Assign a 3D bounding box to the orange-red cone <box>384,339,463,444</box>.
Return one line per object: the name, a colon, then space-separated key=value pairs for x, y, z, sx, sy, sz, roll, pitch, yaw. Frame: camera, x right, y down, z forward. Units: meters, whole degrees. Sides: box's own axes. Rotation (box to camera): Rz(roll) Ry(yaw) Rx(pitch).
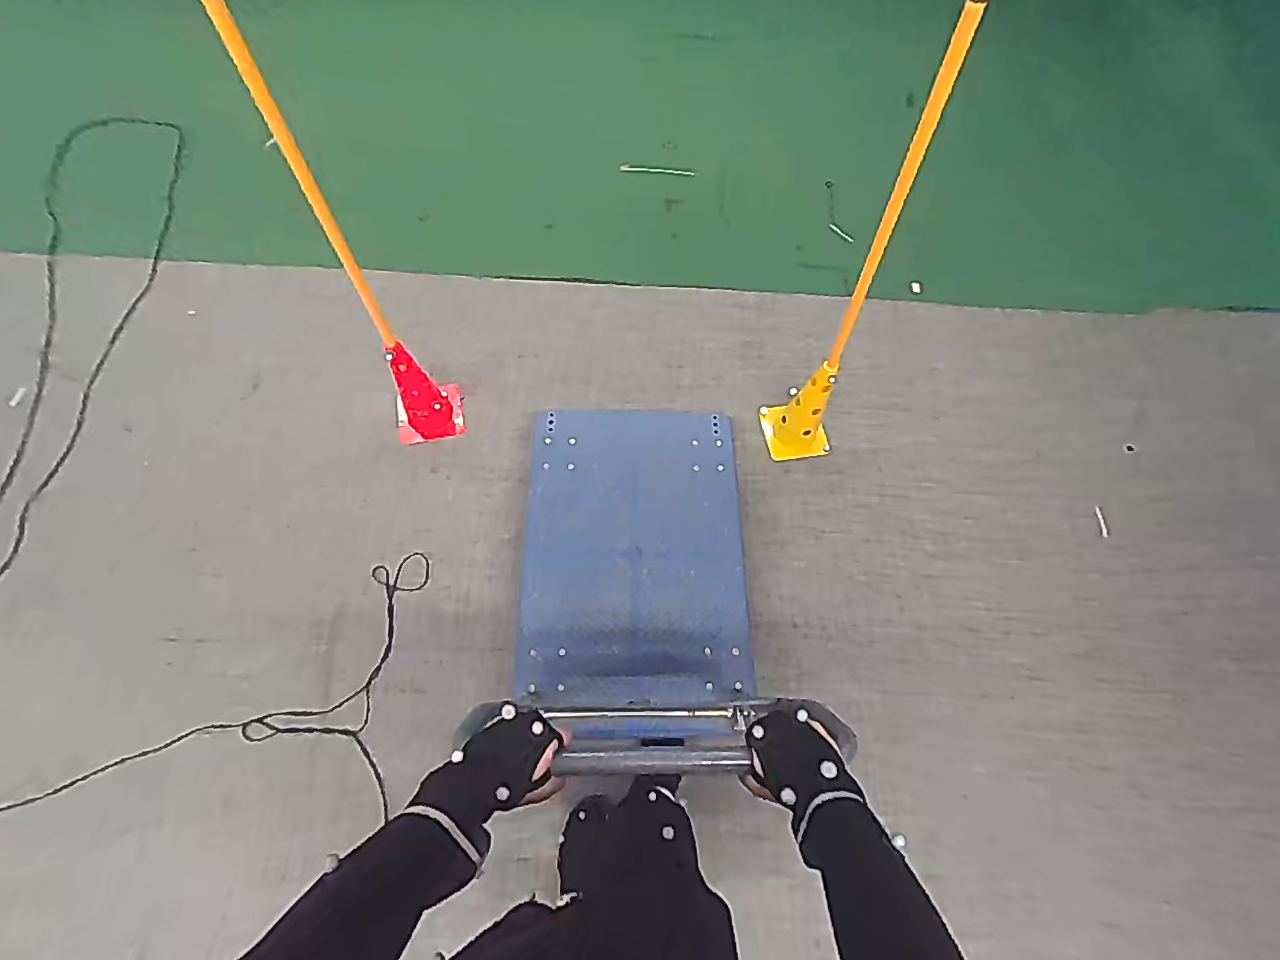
orange-red cone: x=-0.667 y=-0.282 z=1.584 sx=0.199 sy=0.360 sz=0.198 roll=-11 pitch=66 yaw=-7
